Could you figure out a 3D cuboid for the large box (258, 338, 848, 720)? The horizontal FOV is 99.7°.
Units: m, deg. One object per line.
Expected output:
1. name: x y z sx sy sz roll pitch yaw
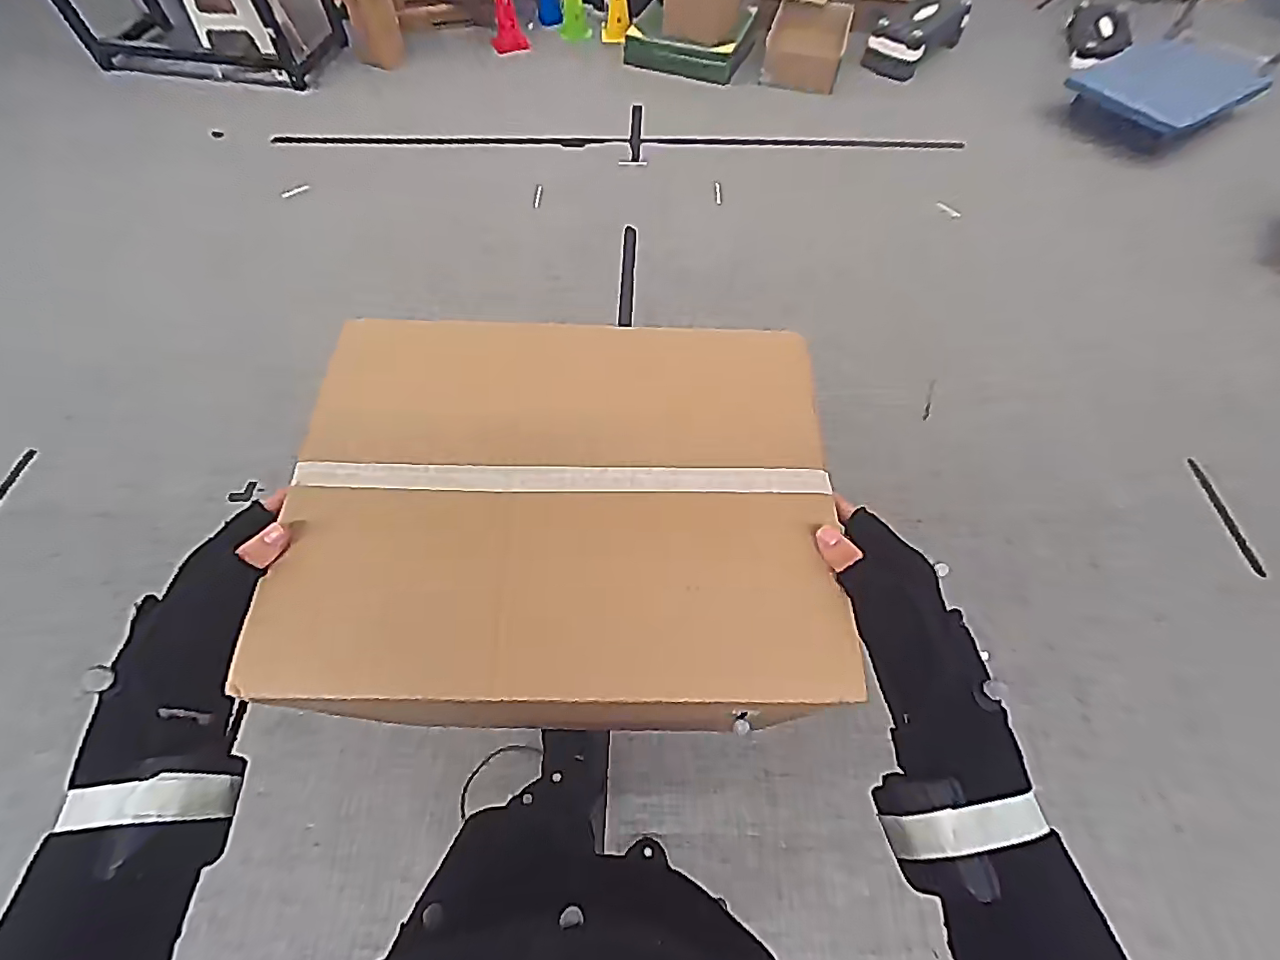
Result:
1. large box: -0.059 0.074 0.560 0.408 0.320 0.320 1 62 -1
